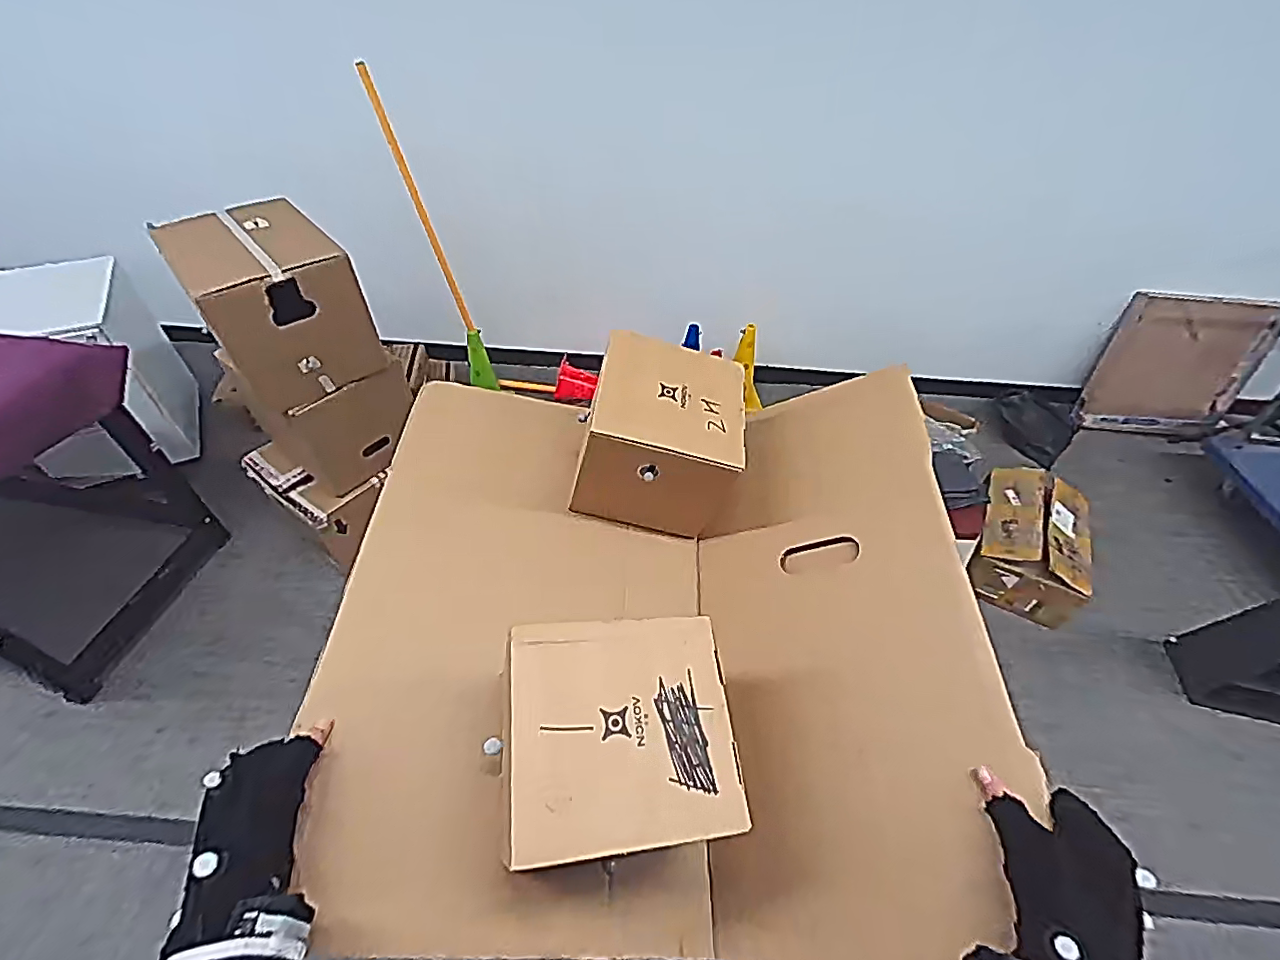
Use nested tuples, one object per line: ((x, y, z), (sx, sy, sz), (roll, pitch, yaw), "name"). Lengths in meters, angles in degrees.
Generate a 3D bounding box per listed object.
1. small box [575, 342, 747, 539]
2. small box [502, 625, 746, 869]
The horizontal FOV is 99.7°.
((0.022, -0.042, 0.695), (0.179, 0.176, 0.168), (15, 55, -8), "small box")
((-0.030, 0.238, 0.492), (0.179, 0.176, 0.168), (2, 57, -15), "small box")
